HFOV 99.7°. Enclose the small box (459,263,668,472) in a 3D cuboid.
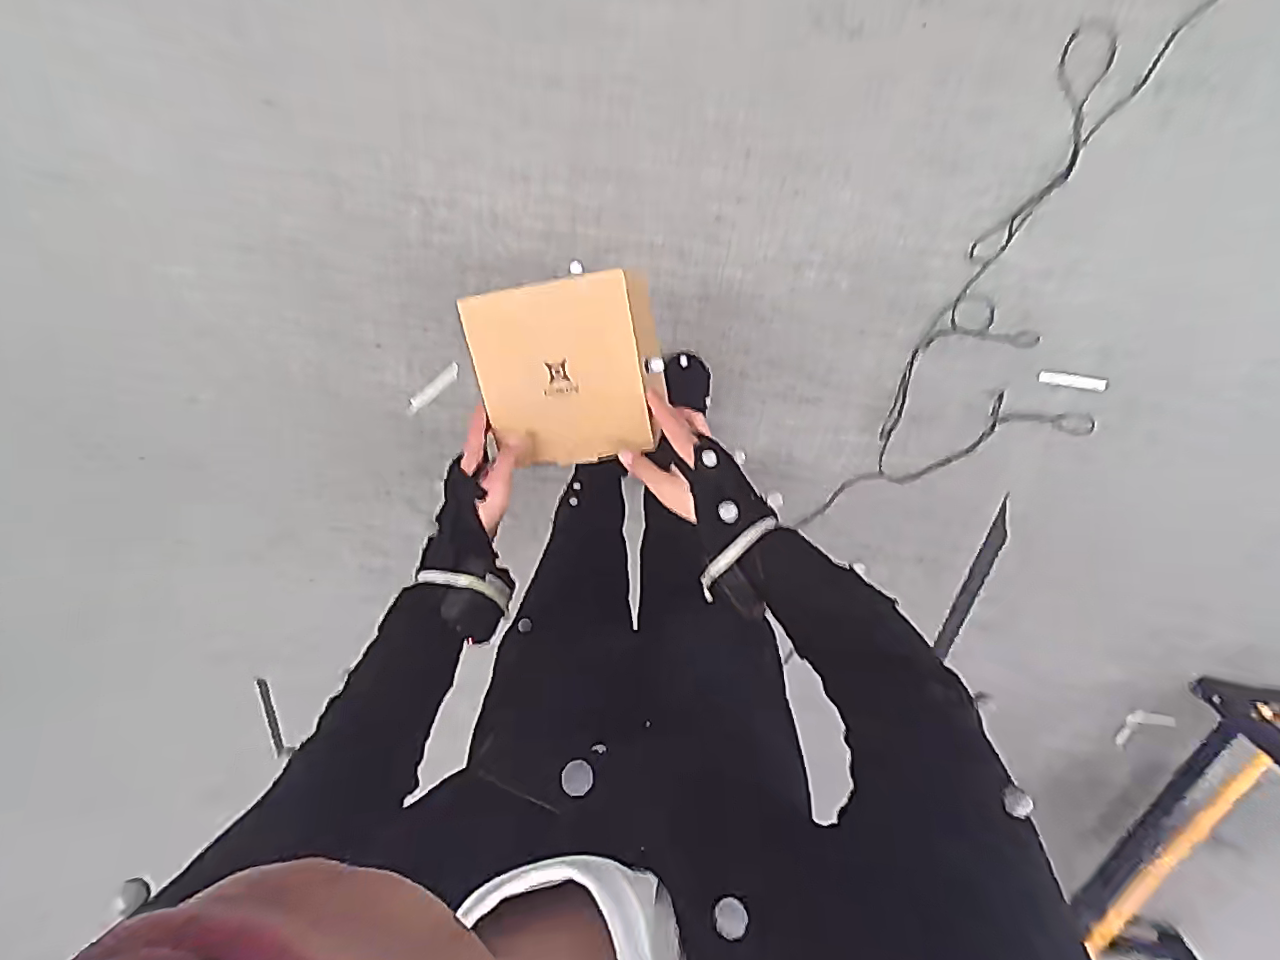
[{"bbox_3d":[-0.066,-0.124,0.585,0.168,0.176,0.179,-8,109,10],"label":"small box"}]
